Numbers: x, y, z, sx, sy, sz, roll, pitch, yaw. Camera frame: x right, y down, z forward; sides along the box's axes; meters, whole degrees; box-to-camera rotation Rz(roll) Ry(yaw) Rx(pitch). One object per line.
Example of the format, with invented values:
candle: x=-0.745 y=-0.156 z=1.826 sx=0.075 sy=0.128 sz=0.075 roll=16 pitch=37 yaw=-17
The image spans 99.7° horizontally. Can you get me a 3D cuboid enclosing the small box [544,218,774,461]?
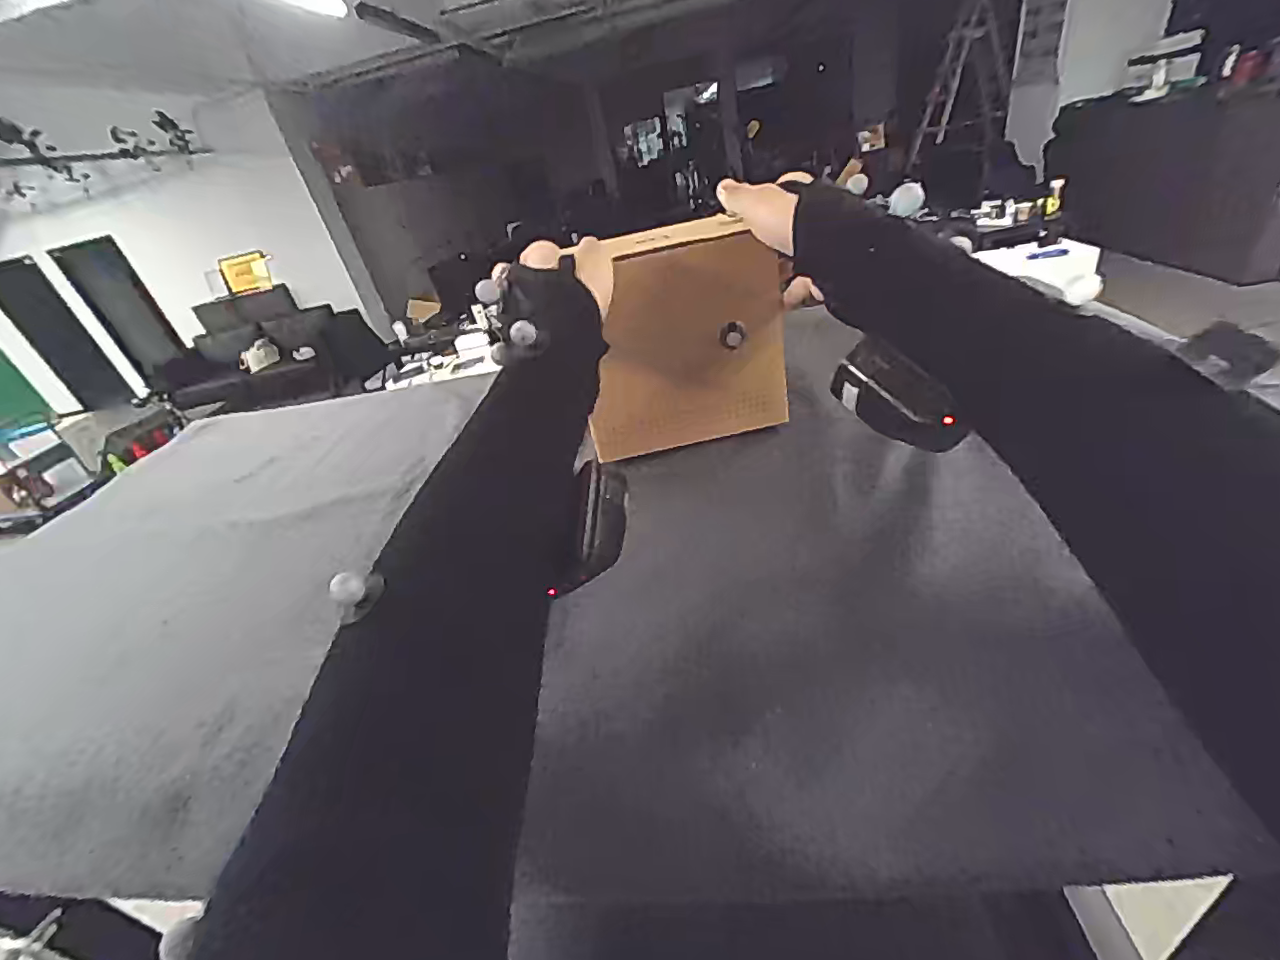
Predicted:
small box: x=0.019 y=-0.137 z=0.507 sx=0.179 sy=0.176 sz=0.168 roll=-12 pitch=27 yaw=-1
